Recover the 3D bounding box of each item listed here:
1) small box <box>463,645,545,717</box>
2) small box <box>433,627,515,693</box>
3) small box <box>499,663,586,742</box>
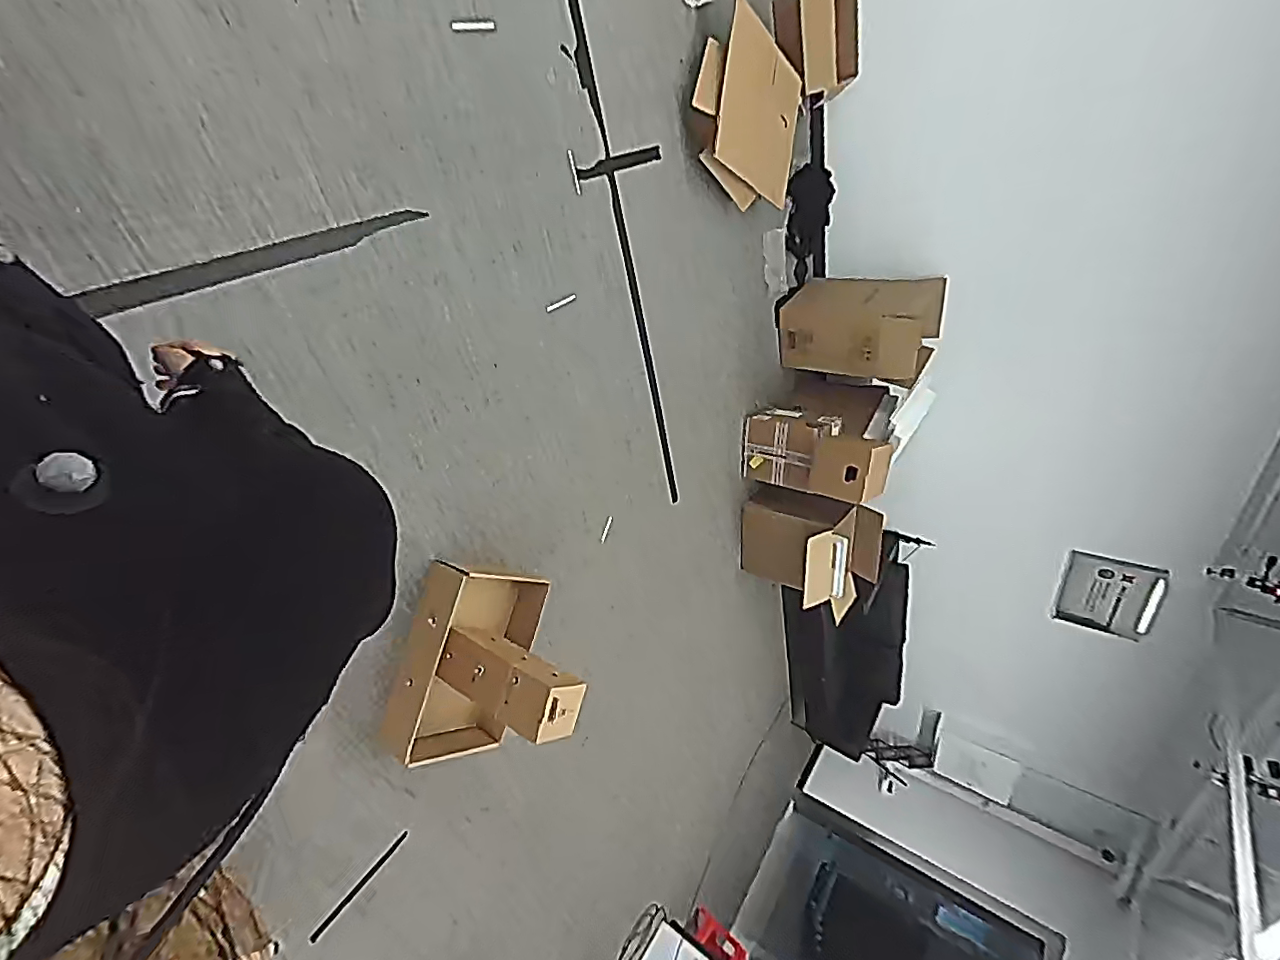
[{"bbox_3d":[-0.434,0.641,1.746,0.179,0.176,0.168,25,80,-54],"label":"small box"},{"bbox_3d":[-0.563,0.608,1.838,0.179,0.176,0.168,27,79,-54],"label":"small box"},{"bbox_3d":[-0.300,0.673,1.656,0.179,0.176,0.168,23,82,-56],"label":"small box"}]
